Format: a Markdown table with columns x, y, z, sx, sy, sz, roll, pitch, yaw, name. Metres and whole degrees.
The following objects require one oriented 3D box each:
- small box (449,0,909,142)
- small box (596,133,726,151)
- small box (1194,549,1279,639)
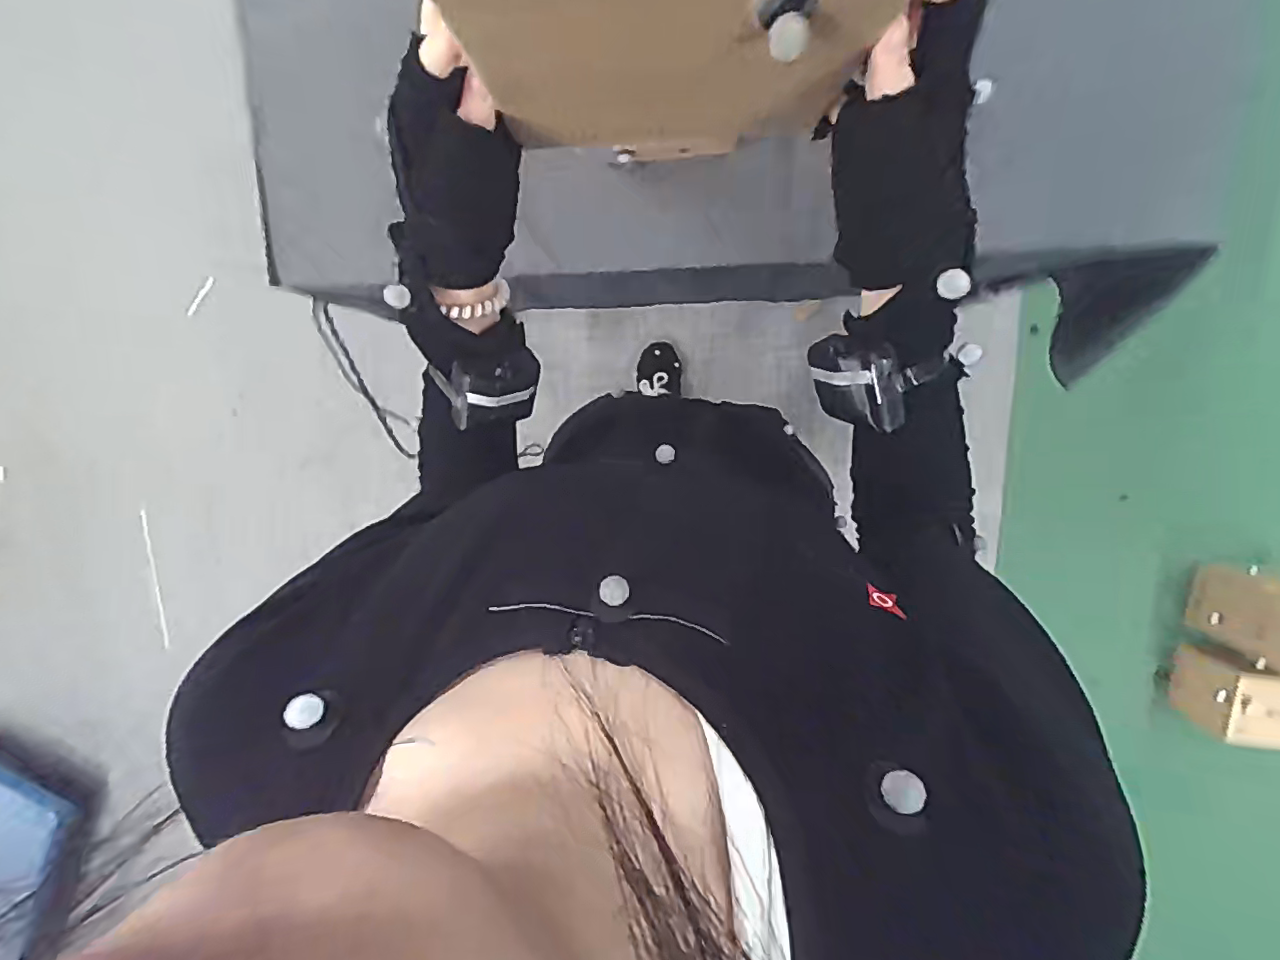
| x | y | z | sx | sy | sz | roll | pitch | yaw | name |
| --- | --- | --- | --- | --- | --- | --- | --- | --- | --- |
| 0.016 | -0.265 | 0.227 | 0.179 | 0.176 | 0.168 | -2 | 104 | 3 | small box |
| 0.014 | -0.486 | 0.591 | 0.168 | 0.176 | 0.179 | -1 | 98 | 8 | small box |
| 1.476 | 0.267 | 1.269 | 0.179 | 0.176 | 0.168 | 4 | 100 | 7 | small box |
